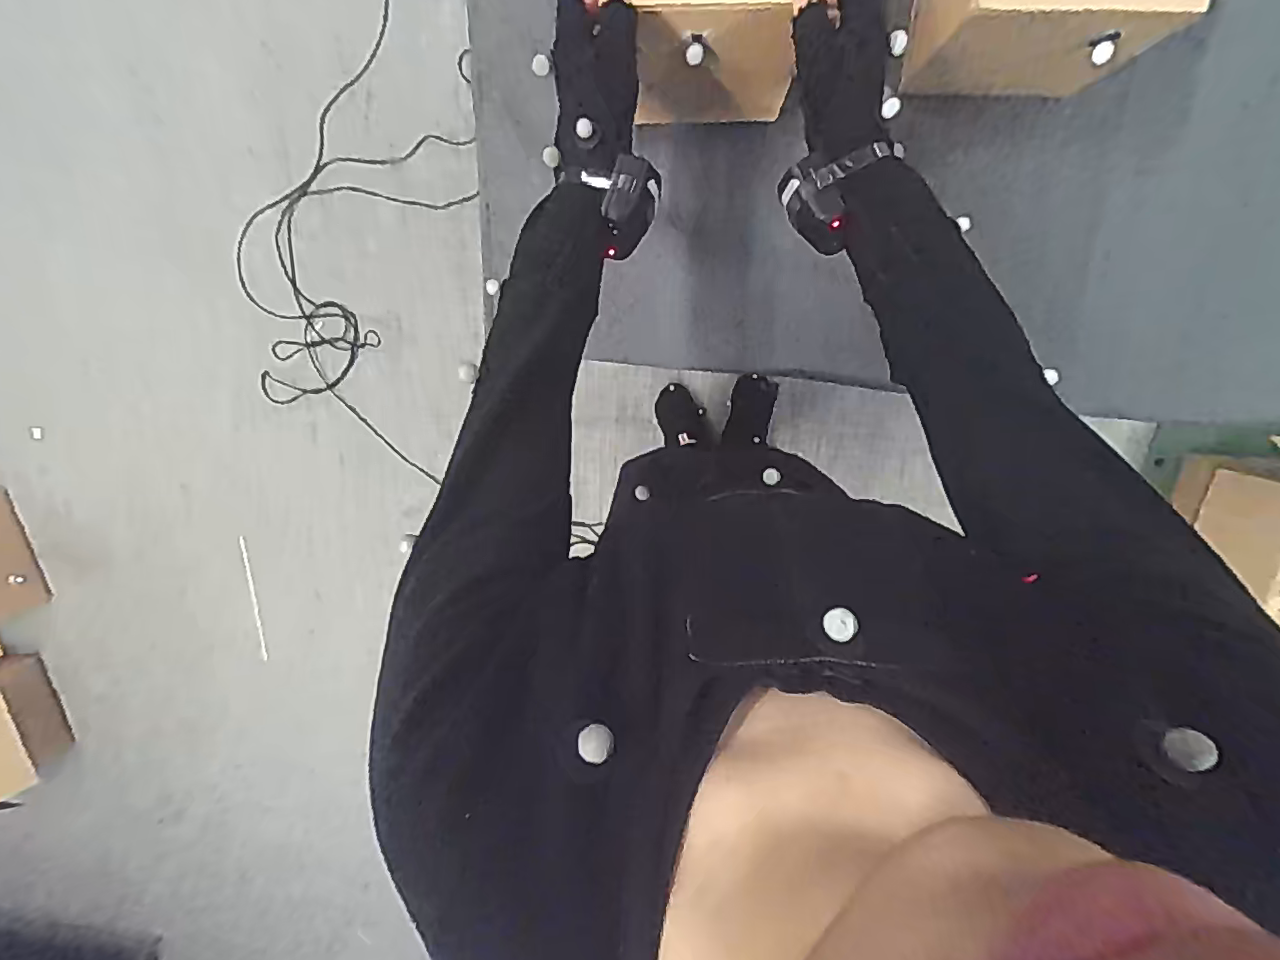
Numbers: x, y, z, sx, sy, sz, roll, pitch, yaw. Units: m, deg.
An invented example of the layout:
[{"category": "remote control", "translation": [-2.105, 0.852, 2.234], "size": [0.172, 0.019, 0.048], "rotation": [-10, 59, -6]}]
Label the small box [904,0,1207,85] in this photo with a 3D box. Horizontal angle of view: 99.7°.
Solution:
[{"category": "small box", "translation": [0.358, -0.468, 0.465], "size": [0.179, 0.176, 0.168], "rotation": [5, 107, 6]}]
